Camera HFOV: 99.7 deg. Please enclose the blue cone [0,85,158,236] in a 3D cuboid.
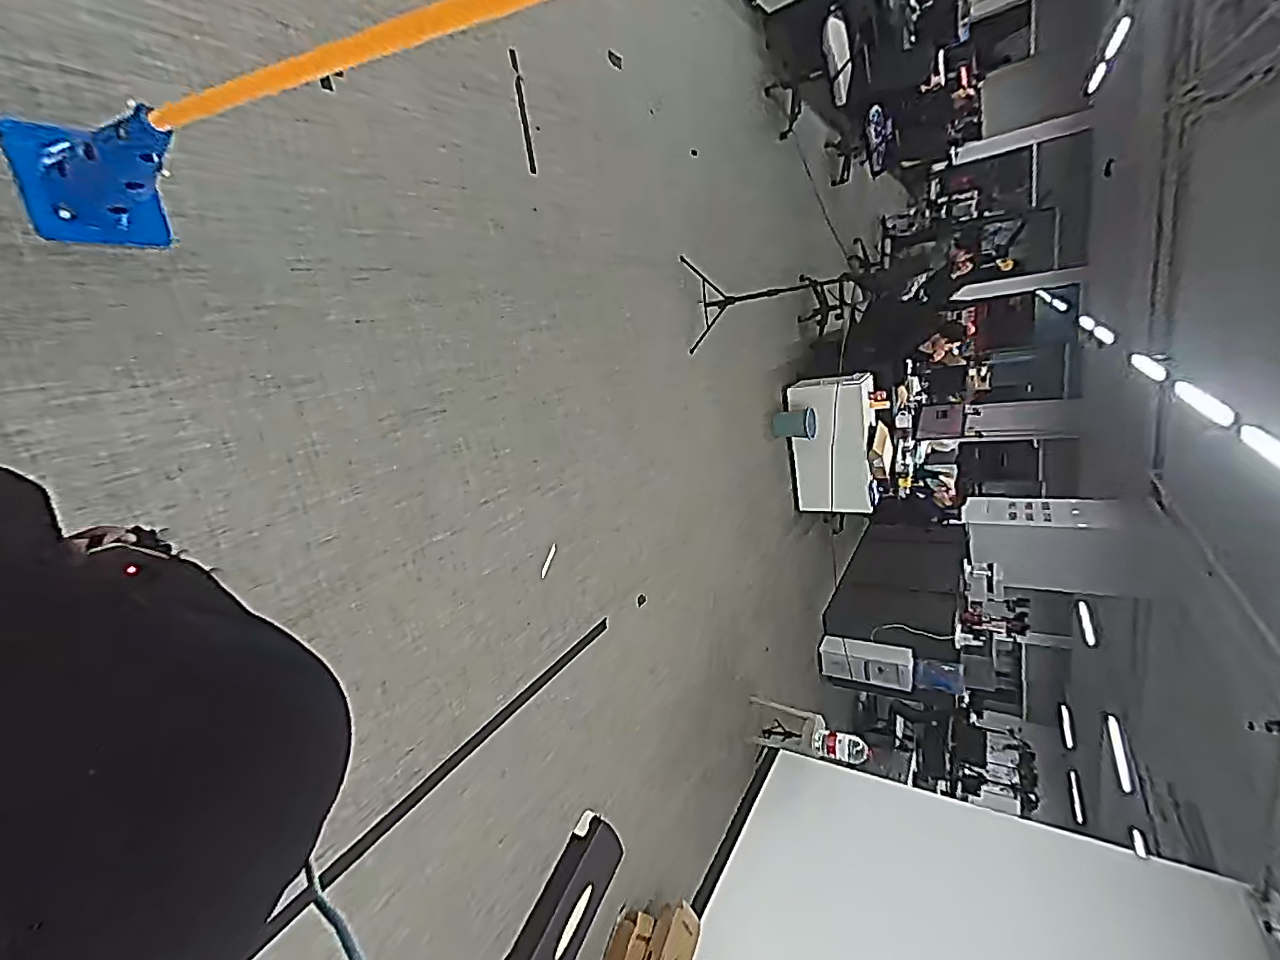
[{"bbox_3d":[-0.894,-0.559,0.911,0.193,0.380,0.192,-26,111,-54],"label":"blue cone"}]
